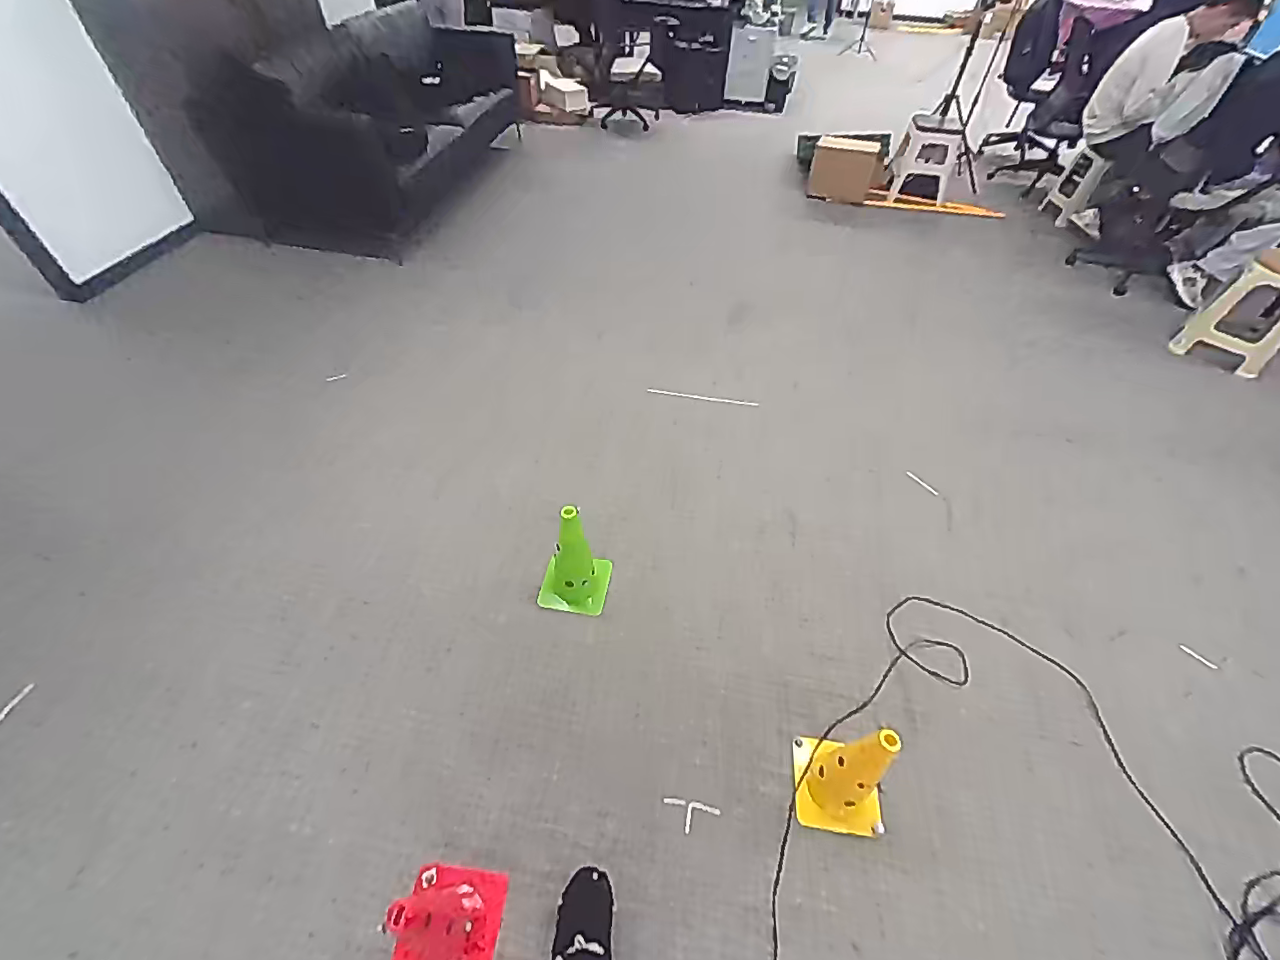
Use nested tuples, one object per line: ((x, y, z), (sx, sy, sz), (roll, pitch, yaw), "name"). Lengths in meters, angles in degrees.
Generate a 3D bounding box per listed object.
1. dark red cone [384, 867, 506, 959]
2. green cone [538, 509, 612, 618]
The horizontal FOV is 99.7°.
((-0.380, 0.804, 0.971), (0.202, 0.394, 0.201), (5, 49, 3), "dark red cone")
((-0.190, 0.212, 1.546), (0.202, 0.368, 0.200), (9, 49, 4), "green cone")
